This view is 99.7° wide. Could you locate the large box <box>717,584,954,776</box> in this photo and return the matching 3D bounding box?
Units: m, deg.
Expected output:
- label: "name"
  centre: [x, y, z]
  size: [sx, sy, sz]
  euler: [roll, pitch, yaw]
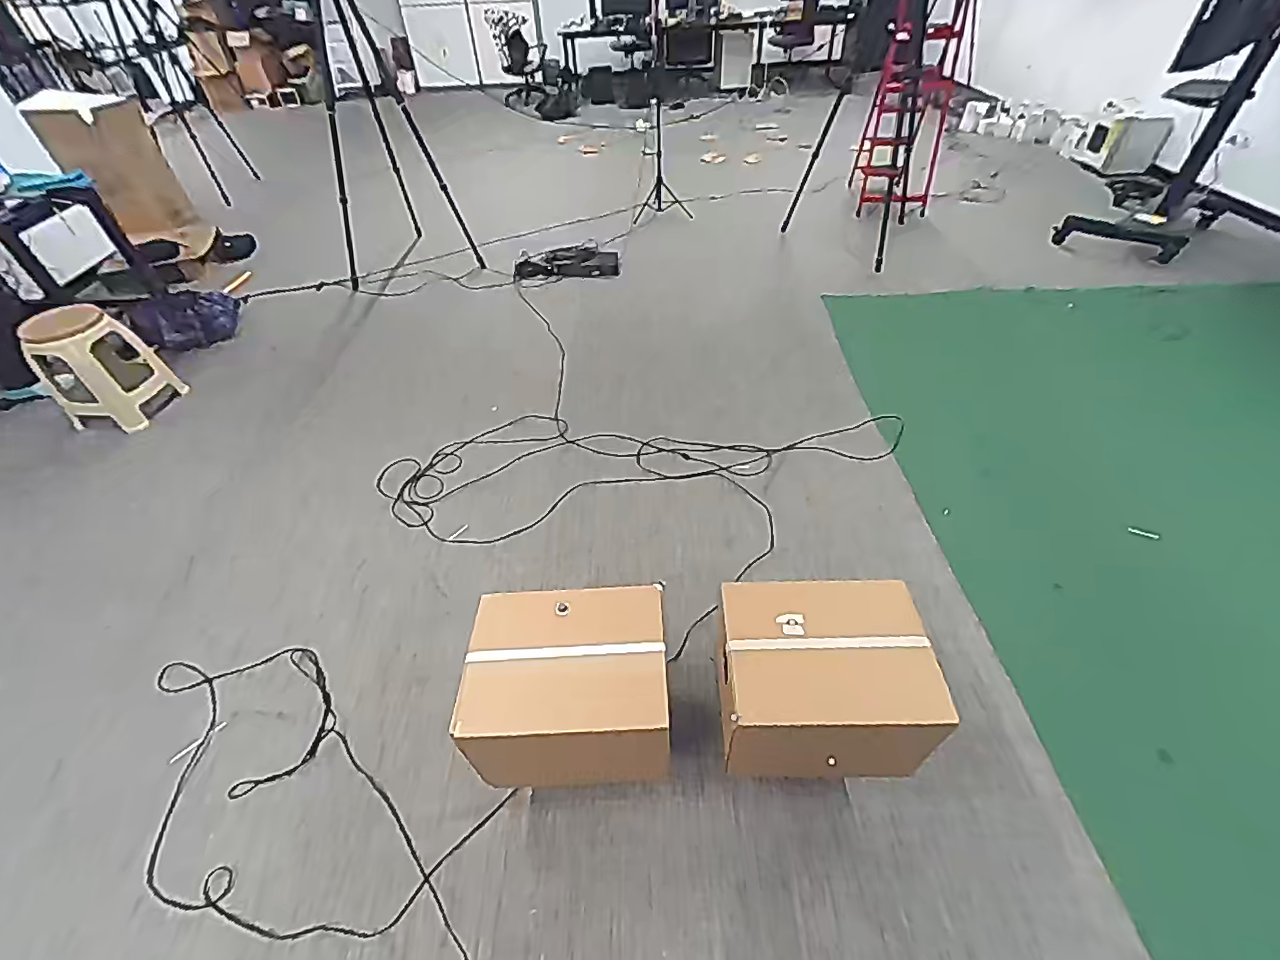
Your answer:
- label: "large box"
  centre: [0.391, 0.451, 1.208]
  size: [0.408, 0.320, 0.320]
  euler: [-1, 45, 3]
